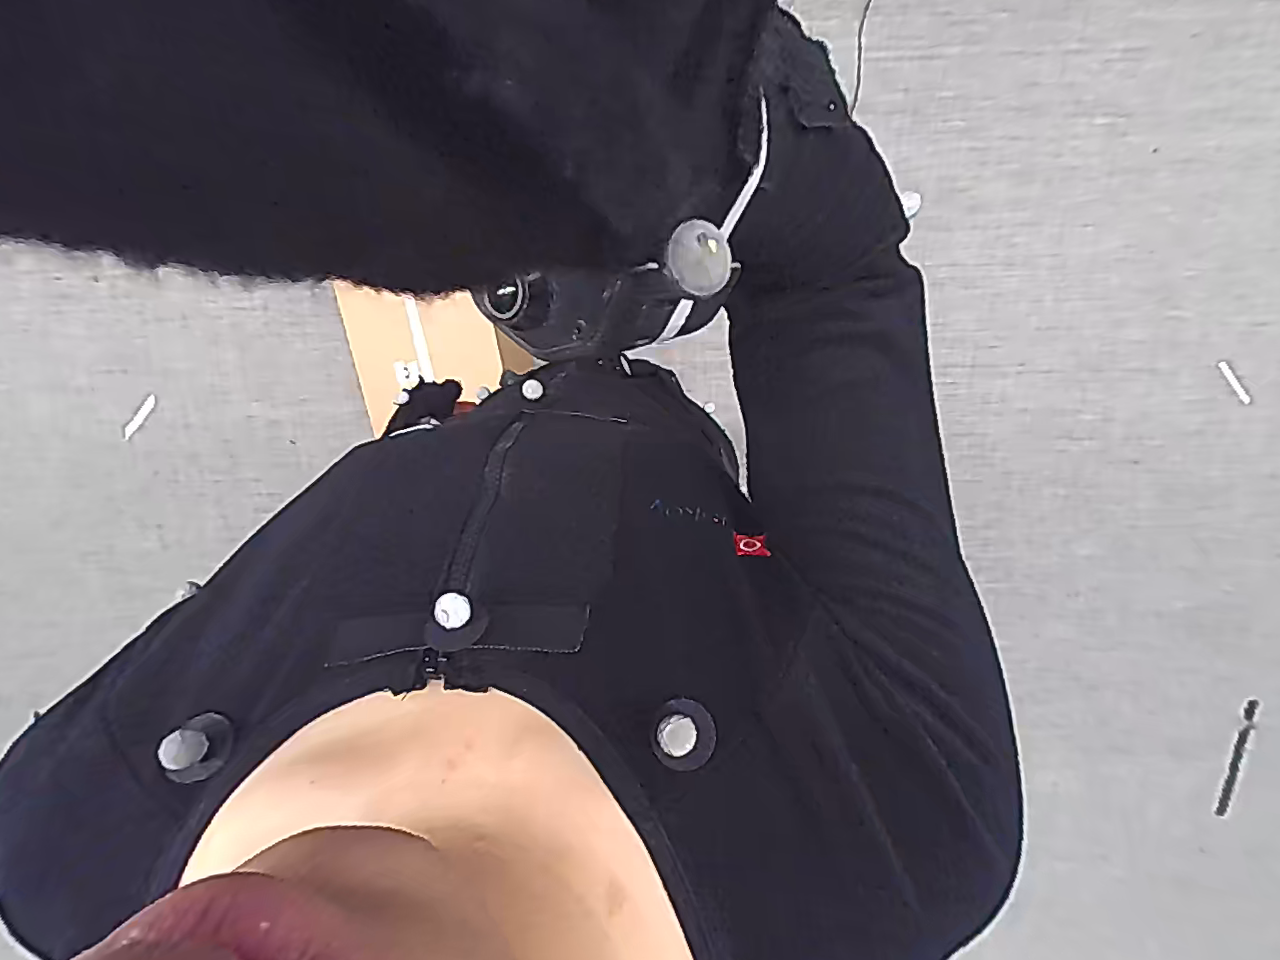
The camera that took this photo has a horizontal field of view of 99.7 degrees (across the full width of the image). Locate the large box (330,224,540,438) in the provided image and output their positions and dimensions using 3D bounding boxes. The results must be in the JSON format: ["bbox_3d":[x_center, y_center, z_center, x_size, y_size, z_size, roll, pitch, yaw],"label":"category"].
[{"bbox_3d":[-0.456,-0.343,1.296,0.320,0.320,0.408,-9,103,5],"label":"large box"}]
